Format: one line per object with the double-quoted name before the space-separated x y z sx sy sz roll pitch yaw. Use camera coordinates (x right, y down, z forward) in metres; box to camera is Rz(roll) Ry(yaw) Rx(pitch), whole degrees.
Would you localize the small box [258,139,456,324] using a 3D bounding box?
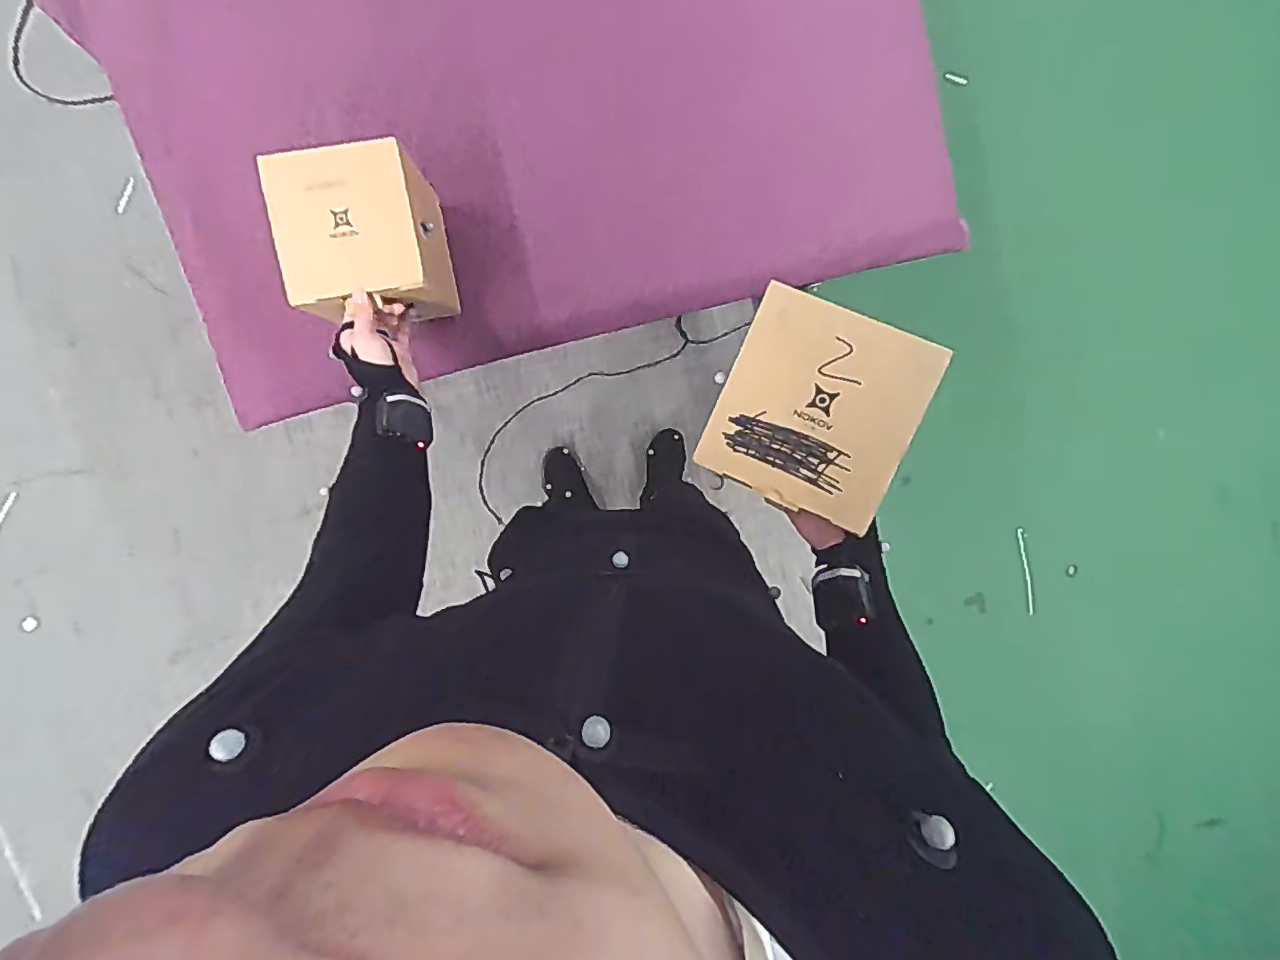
"small box" -0.360 -0.315 0.724 0.168 0.176 0.179 -10 95 -3
